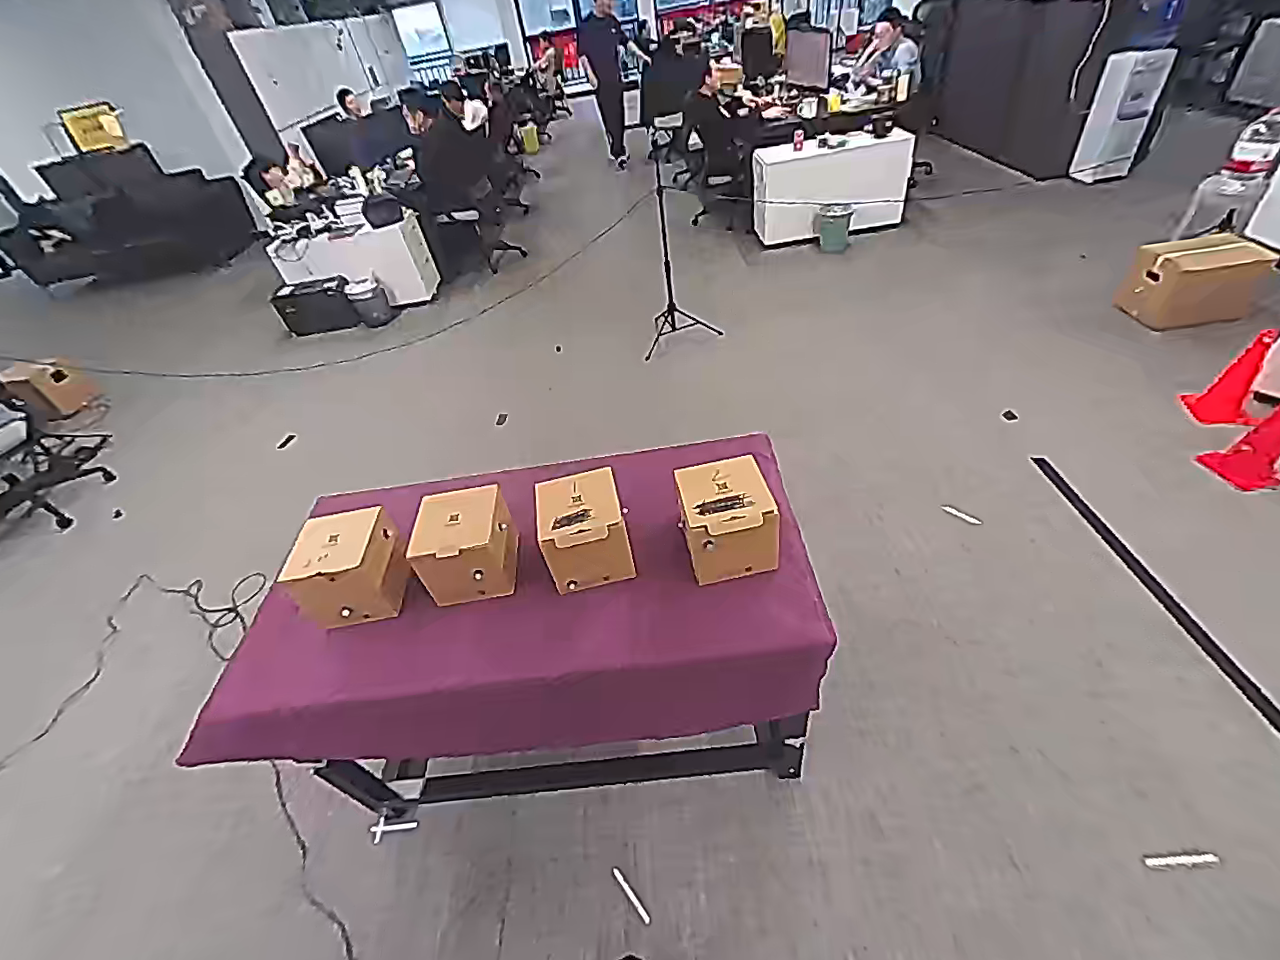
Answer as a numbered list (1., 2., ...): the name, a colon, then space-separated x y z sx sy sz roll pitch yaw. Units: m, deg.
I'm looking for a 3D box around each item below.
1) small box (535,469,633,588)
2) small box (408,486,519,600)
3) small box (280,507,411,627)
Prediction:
1. small box: -0.116 0.108 1.135 0.168 0.176 0.179 -13 41 -3
2. small box: -0.366 0.141 1.156 0.168 0.176 0.179 -9 41 2
3. small box: -0.612 0.186 1.155 0.168 0.176 0.179 -11 42 1
